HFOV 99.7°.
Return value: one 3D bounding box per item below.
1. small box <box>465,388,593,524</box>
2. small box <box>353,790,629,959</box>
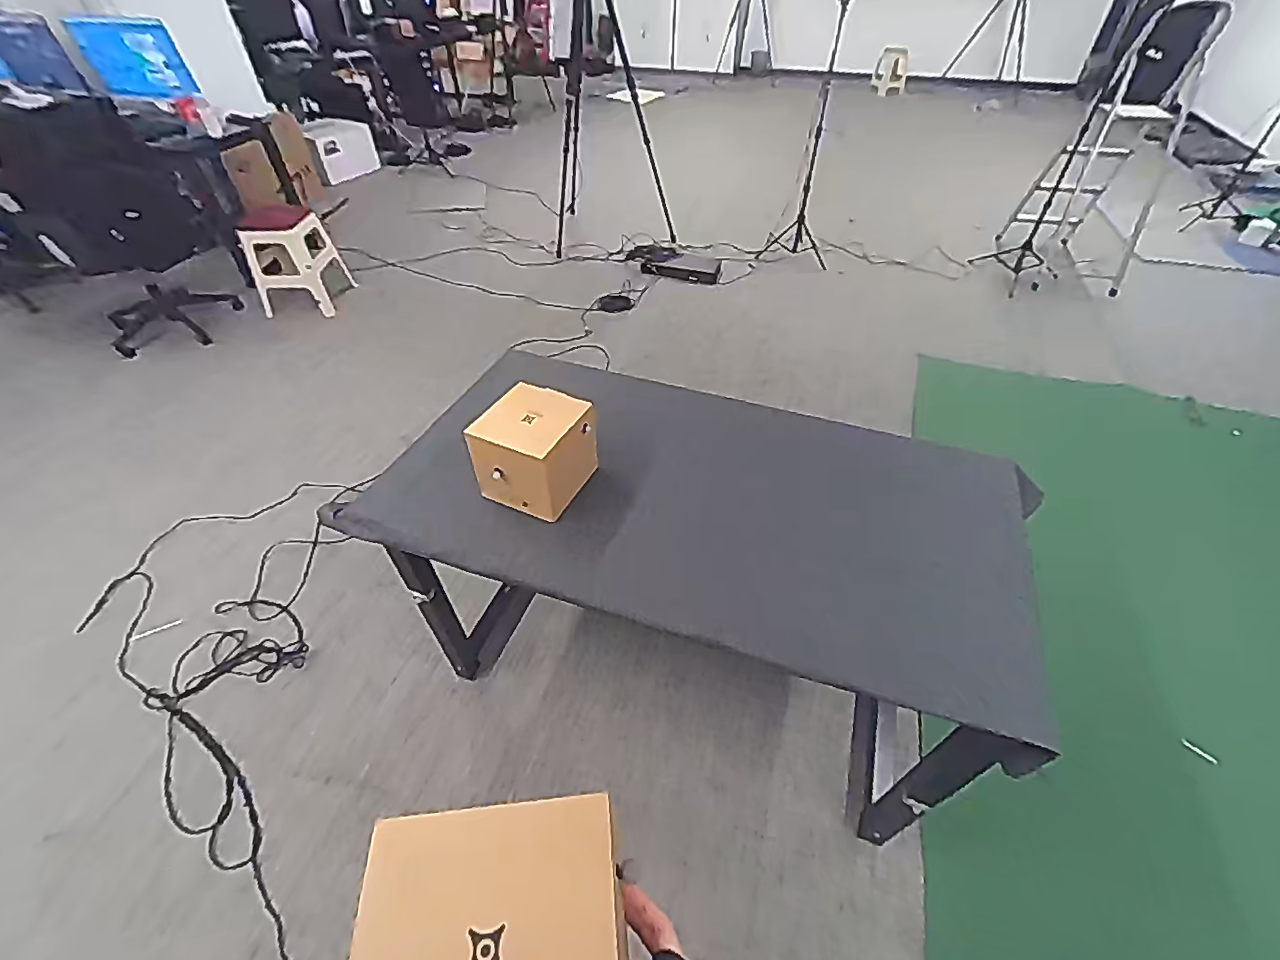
[{"bbox_3d":[-0.198,-0.045,1.030,0.168,0.176,0.179,18,46,17],"label":"small box"},{"bbox_3d":[-0.094,0.349,0.392,0.168,0.176,0.179,-5,49,-2],"label":"small box"}]
